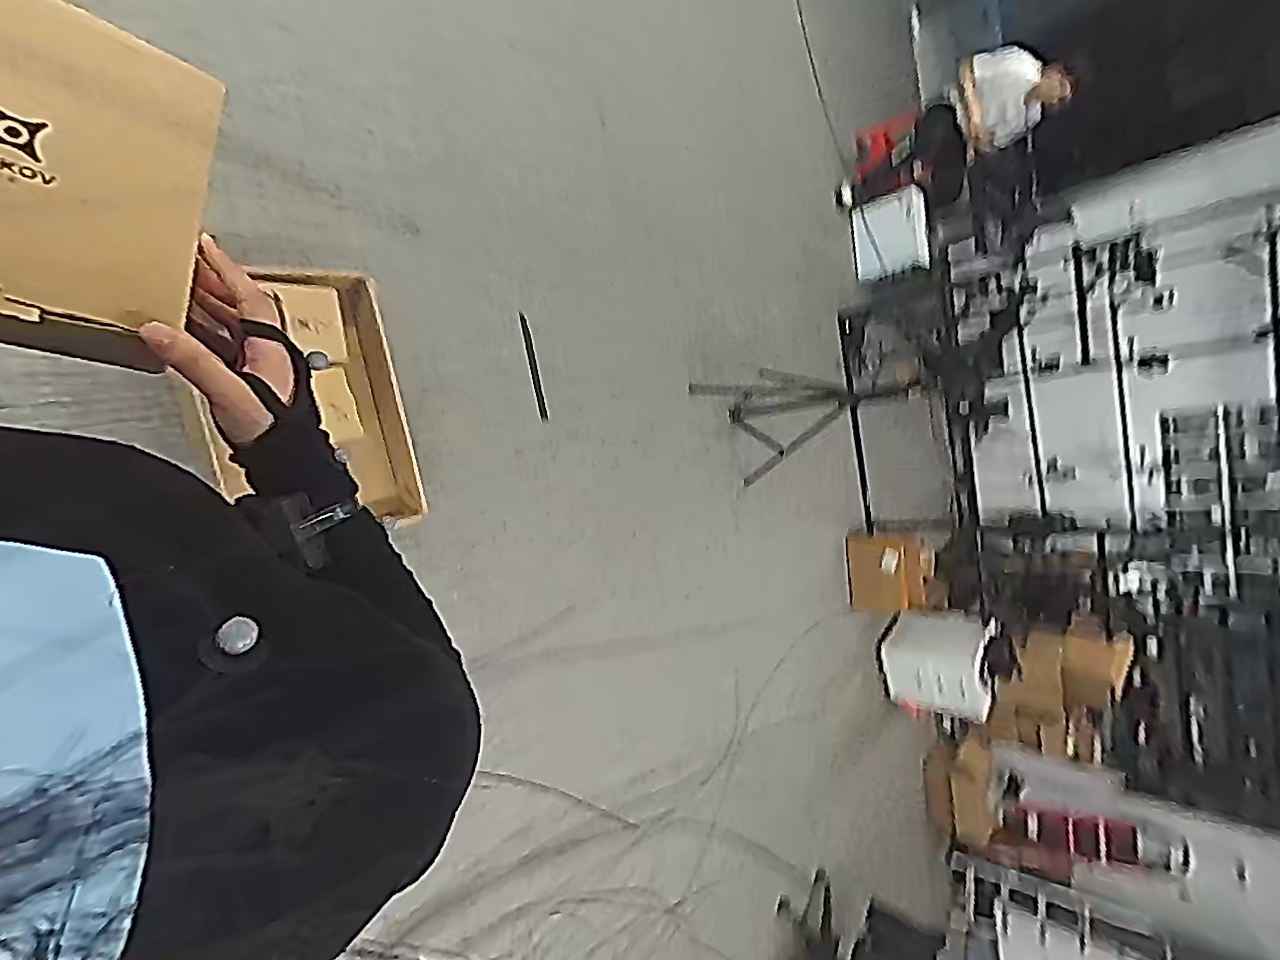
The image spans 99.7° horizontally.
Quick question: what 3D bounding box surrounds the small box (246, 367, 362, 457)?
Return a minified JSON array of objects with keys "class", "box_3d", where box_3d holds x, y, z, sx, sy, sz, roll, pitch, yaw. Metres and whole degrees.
[{"class":"small box","box_3d":[-0.775,-0.154,1.239,0.179,0.176,0.168,-22,103,-43]}]
